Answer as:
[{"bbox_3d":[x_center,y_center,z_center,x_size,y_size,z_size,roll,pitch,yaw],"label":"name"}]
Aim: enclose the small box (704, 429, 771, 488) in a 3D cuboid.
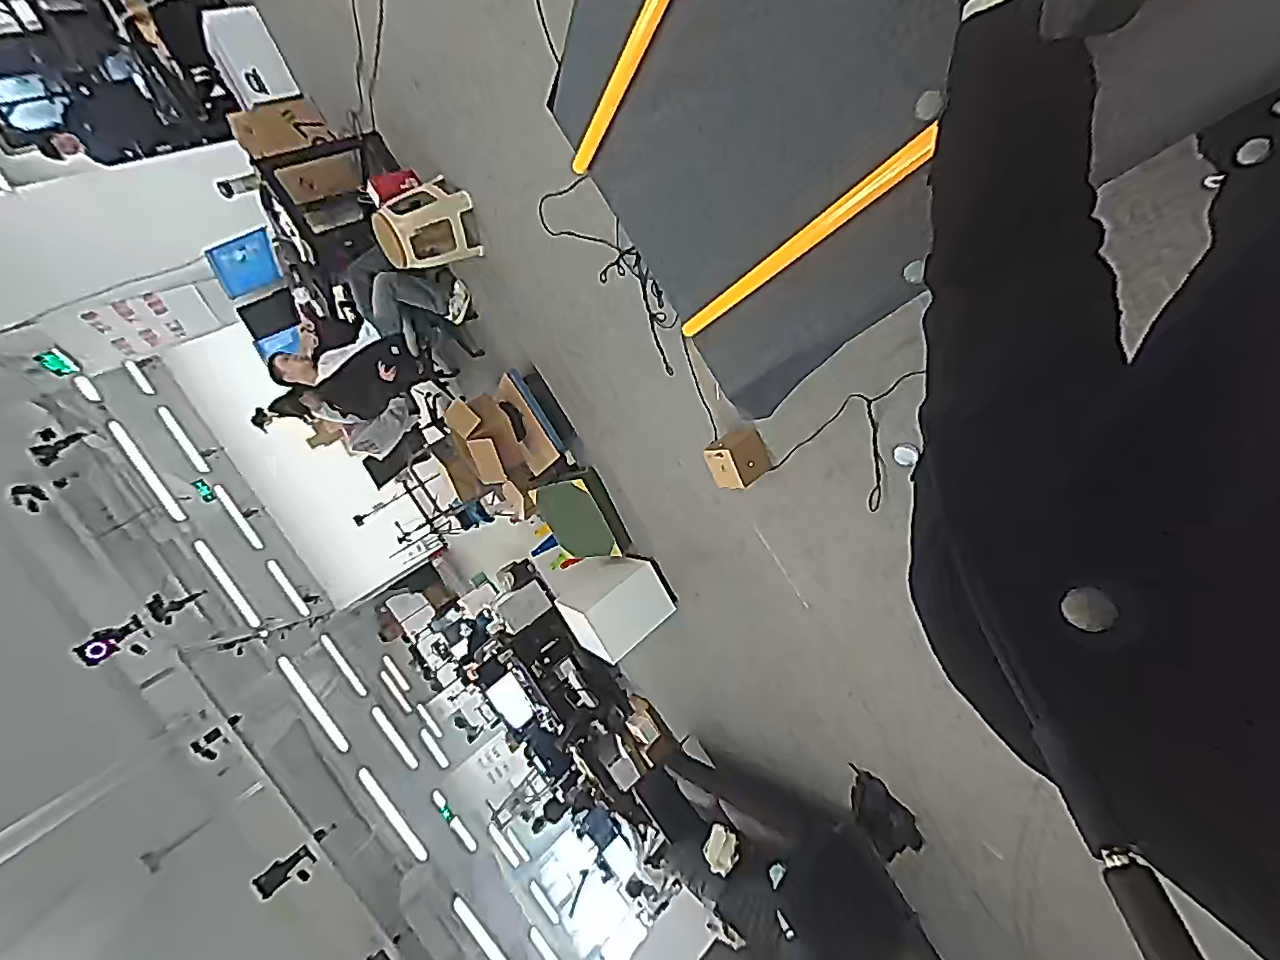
[{"bbox_3d":[0.392,-0.087,2.158,0.168,0.176,0.179,1,121,59],"label":"small box"}]
